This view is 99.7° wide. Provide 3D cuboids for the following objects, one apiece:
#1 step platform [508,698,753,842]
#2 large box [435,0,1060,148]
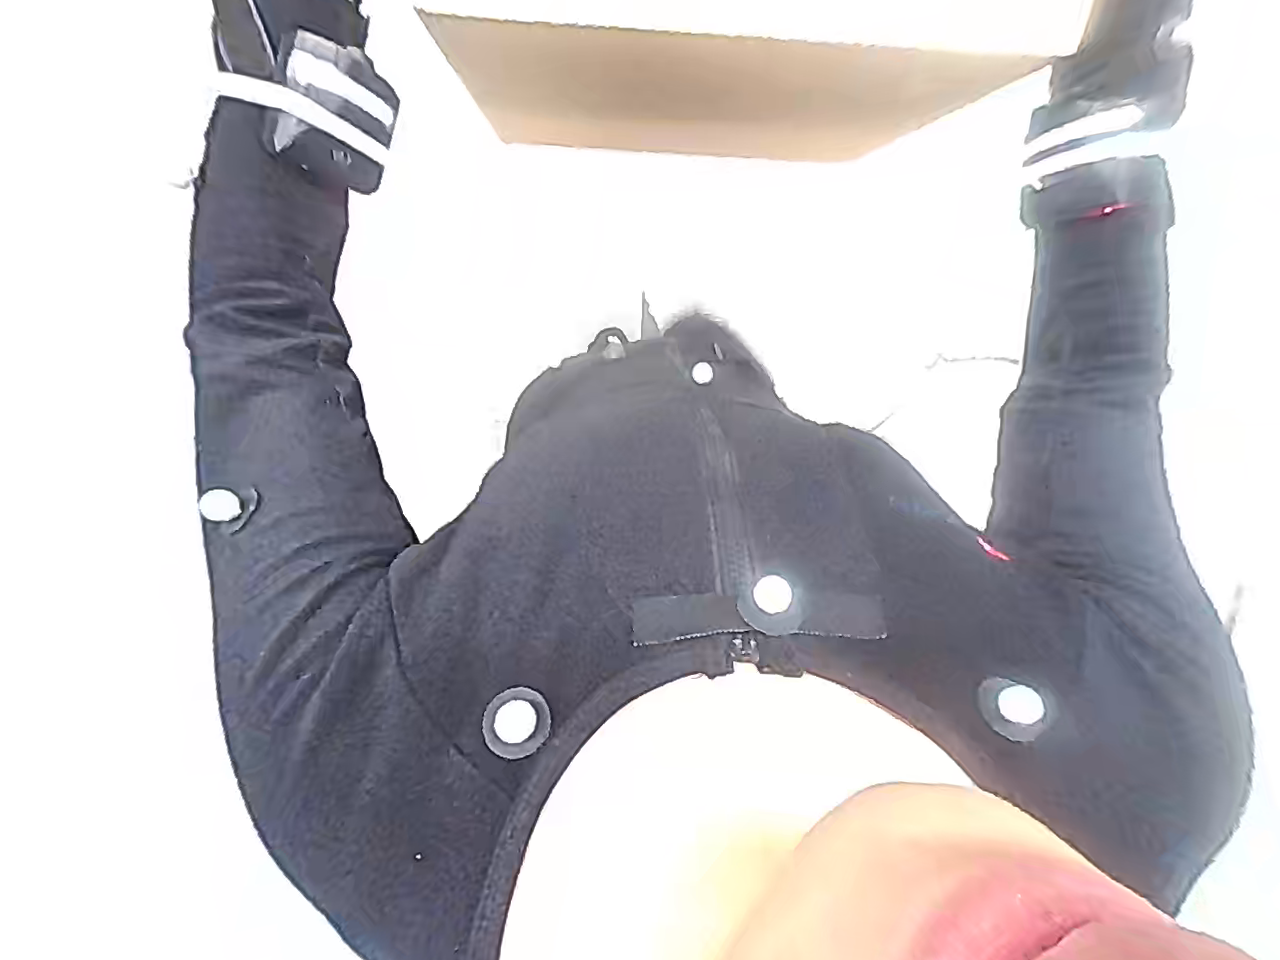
[{"bbox_3d":[-0.026,0.823,1.540,0.684,0.204,0.286,-2,101,-3],"label":"step platform"},{"bbox_3d":[0.058,-0.476,0.424,0.408,0.320,0.320,0,110,-5],"label":"large box"}]
